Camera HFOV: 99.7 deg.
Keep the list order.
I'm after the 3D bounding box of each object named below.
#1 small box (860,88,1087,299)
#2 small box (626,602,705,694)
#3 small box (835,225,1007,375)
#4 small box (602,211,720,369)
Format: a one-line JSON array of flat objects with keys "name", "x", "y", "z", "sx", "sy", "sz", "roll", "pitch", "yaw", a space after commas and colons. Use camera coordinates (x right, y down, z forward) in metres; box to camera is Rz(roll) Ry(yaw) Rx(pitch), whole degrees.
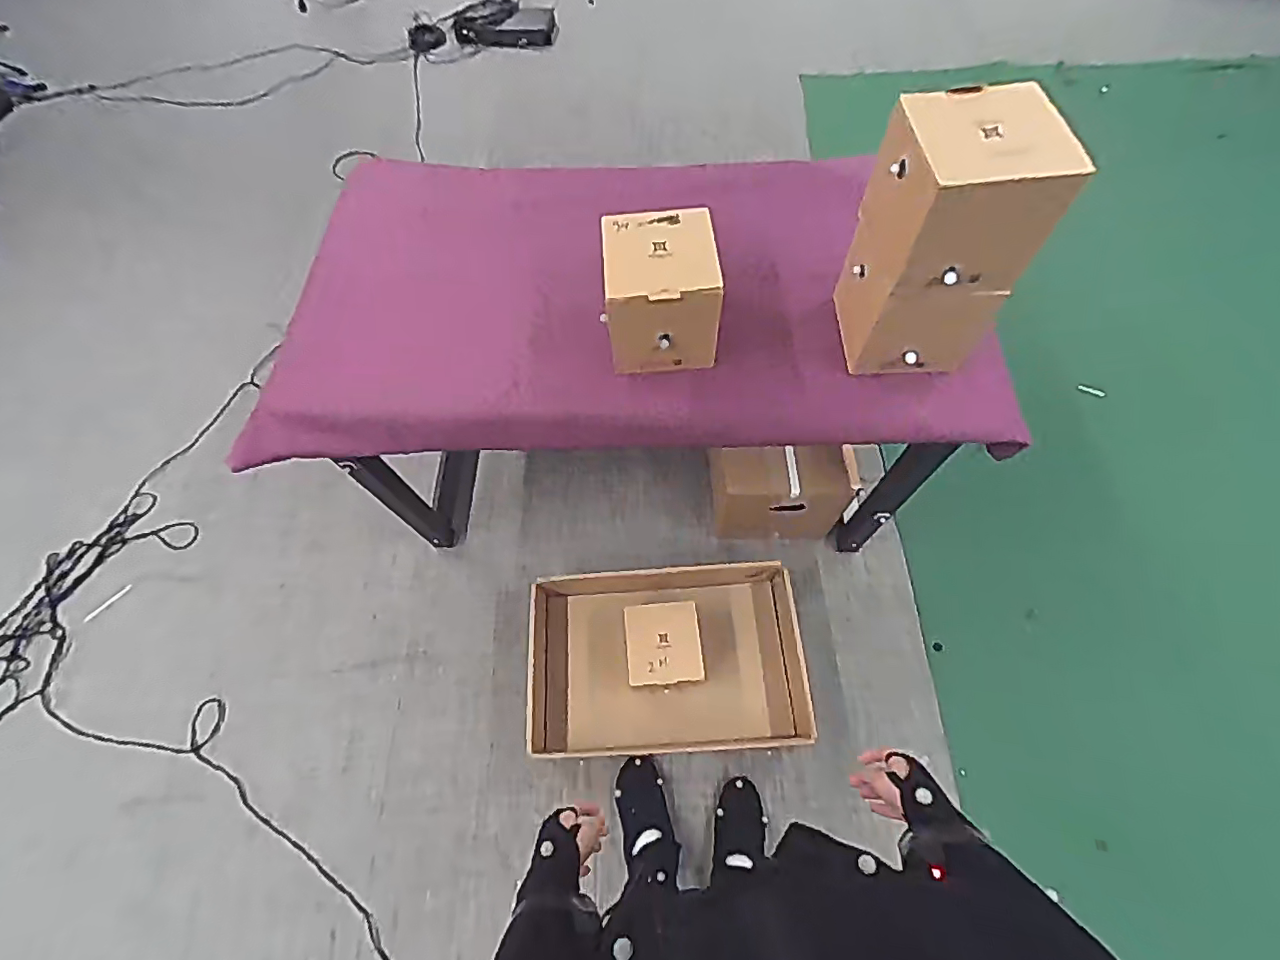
[{"name": "small box", "x": 0.399, "y": -0.358, "z": 0.689, "sx": 0.168, "sy": 0.176, "sz": 0.179, "roll": -4, "pitch": 62, "yaw": 3}, {"name": "small box", "x": 0.056, "y": 0.397, "z": 1.269, "sx": 0.168, "sy": 0.176, "sz": 0.179, "roll": -6, "pitch": 65, "yaw": 0}, {"name": "small box", "x": 0.413, "y": -0.282, "z": 0.833, "sx": 0.168, "sy": 0.176, "sz": 0.179, "roll": -1, "pitch": 63, "yaw": 3}, {"name": "small box", "x": 0.032, "y": -0.290, "z": 0.858, "sx": 0.168, "sy": 0.176, "sz": 0.179, "roll": -4, "pitch": 63, "yaw": 1}]
